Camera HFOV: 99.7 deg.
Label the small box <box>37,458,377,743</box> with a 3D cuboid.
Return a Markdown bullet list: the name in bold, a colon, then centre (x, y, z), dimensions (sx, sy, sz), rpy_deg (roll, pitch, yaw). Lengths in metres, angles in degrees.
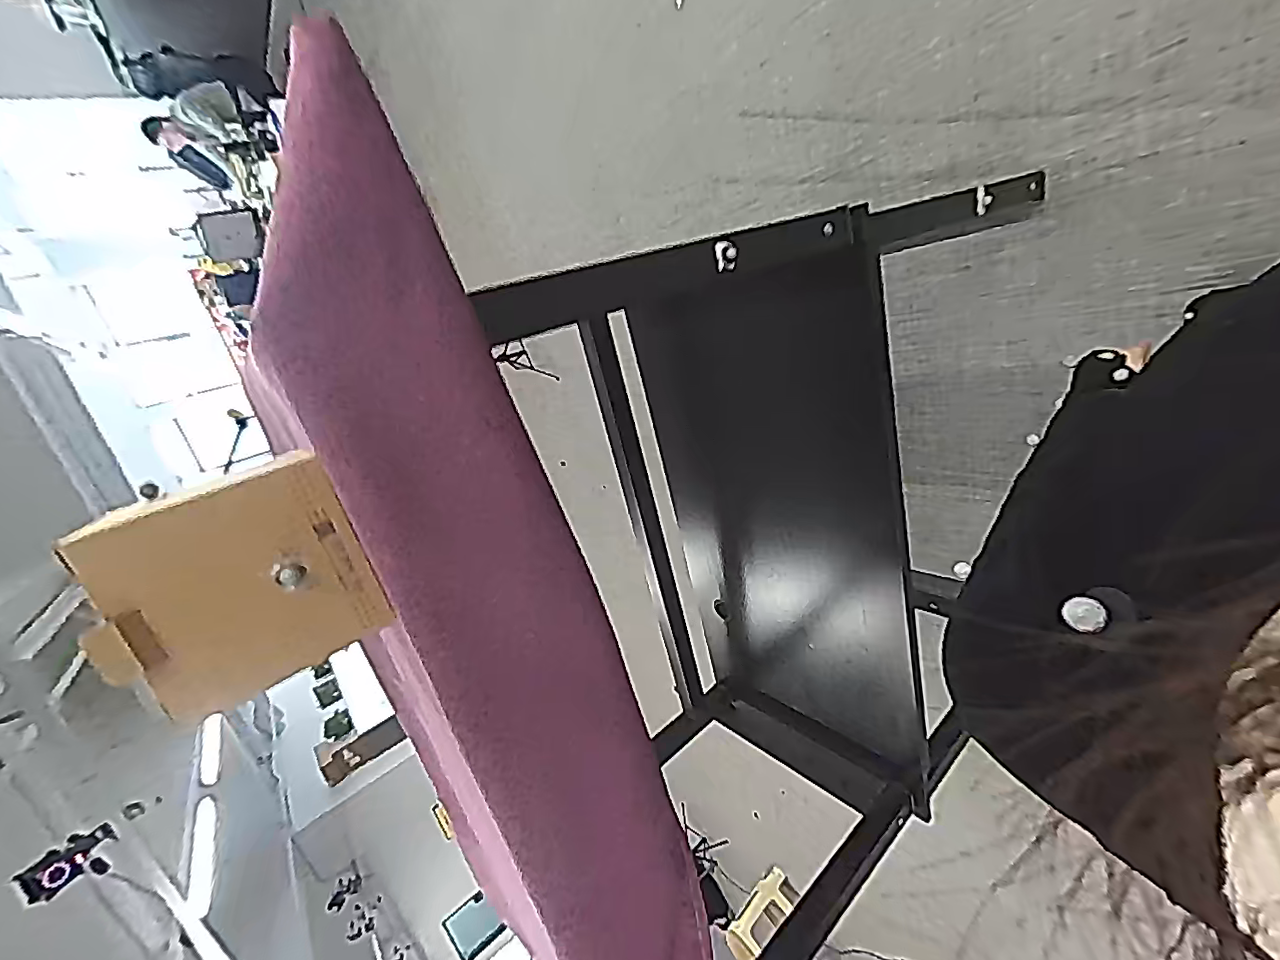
- **small box**: centre (-0.361, 0.086, 0.488), dimensions (0.179, 0.176, 0.168), rpy_deg (6, 119, 54)
